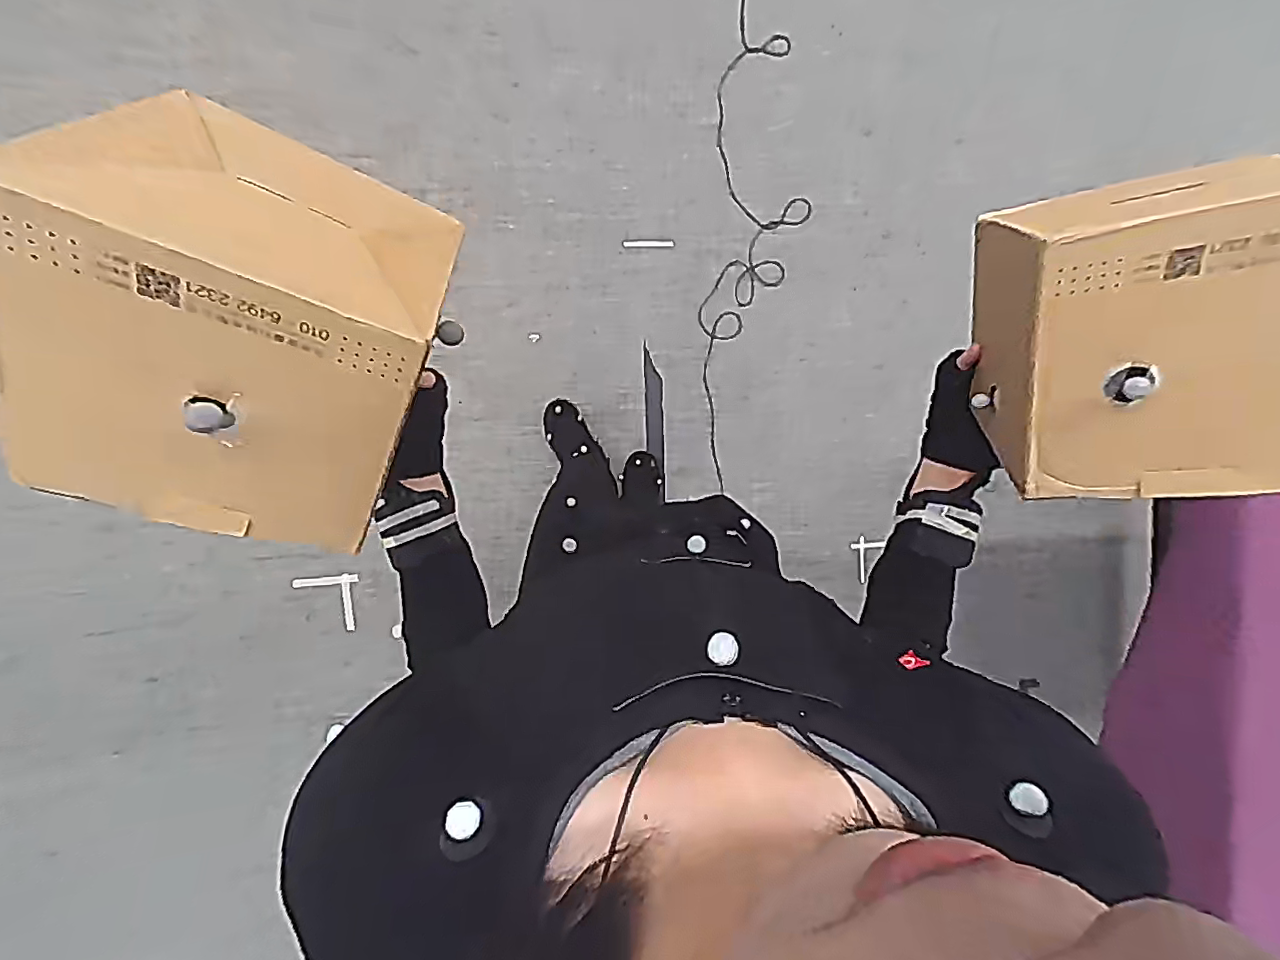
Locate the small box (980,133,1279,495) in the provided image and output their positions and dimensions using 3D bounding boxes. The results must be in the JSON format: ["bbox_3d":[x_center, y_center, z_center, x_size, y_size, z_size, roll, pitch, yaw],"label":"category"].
[{"bbox_3d":[0.333,-0.108,0.348,0.168,0.179,0.176,-4,118,22],"label":"small box"}]

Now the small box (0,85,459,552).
[{"bbox_3d":[-0.216,-0.090,0.313,0.168,0.179,0.176,18,125,-25],"label":"small box"}]
